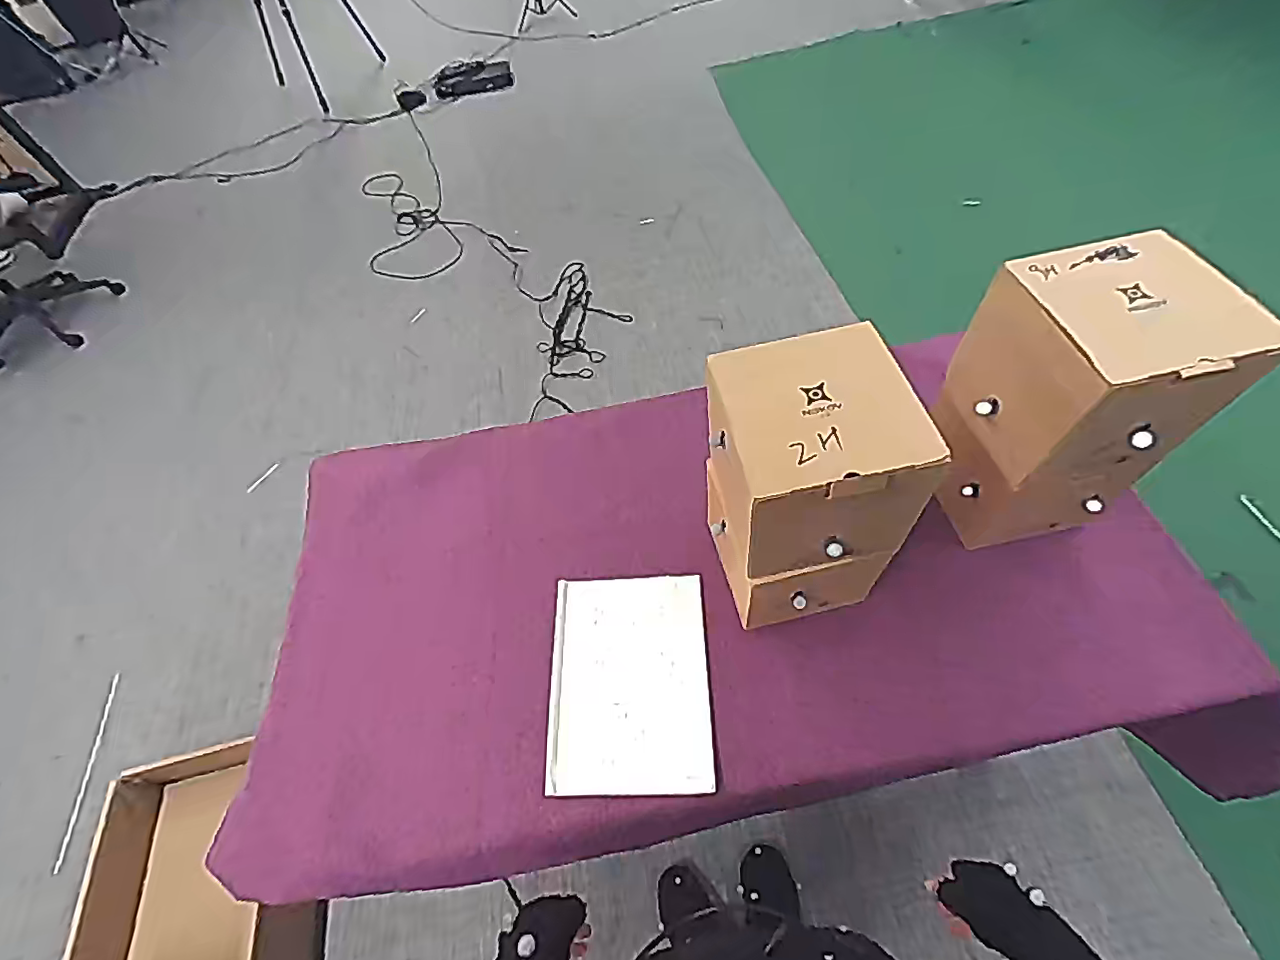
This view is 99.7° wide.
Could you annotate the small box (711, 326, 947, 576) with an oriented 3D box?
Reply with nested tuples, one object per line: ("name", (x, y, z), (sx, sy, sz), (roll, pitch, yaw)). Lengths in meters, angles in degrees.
("small box", (0.169, -0.025, 0.555), (0.168, 0.176, 0.179), (-12, 56, 1))

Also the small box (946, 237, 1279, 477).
("small box", (0.466, -0.118, 0.571), (0.168, 0.176, 0.179), (-11, 58, 0))

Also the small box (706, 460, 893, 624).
("small box", (0.188, 0.070, 0.690), (0.168, 0.176, 0.179), (-14, 56, -1))

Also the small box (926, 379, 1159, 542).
("small box", (0.492, -0.032, 0.709), (0.168, 0.176, 0.179), (-11, 56, 1))
